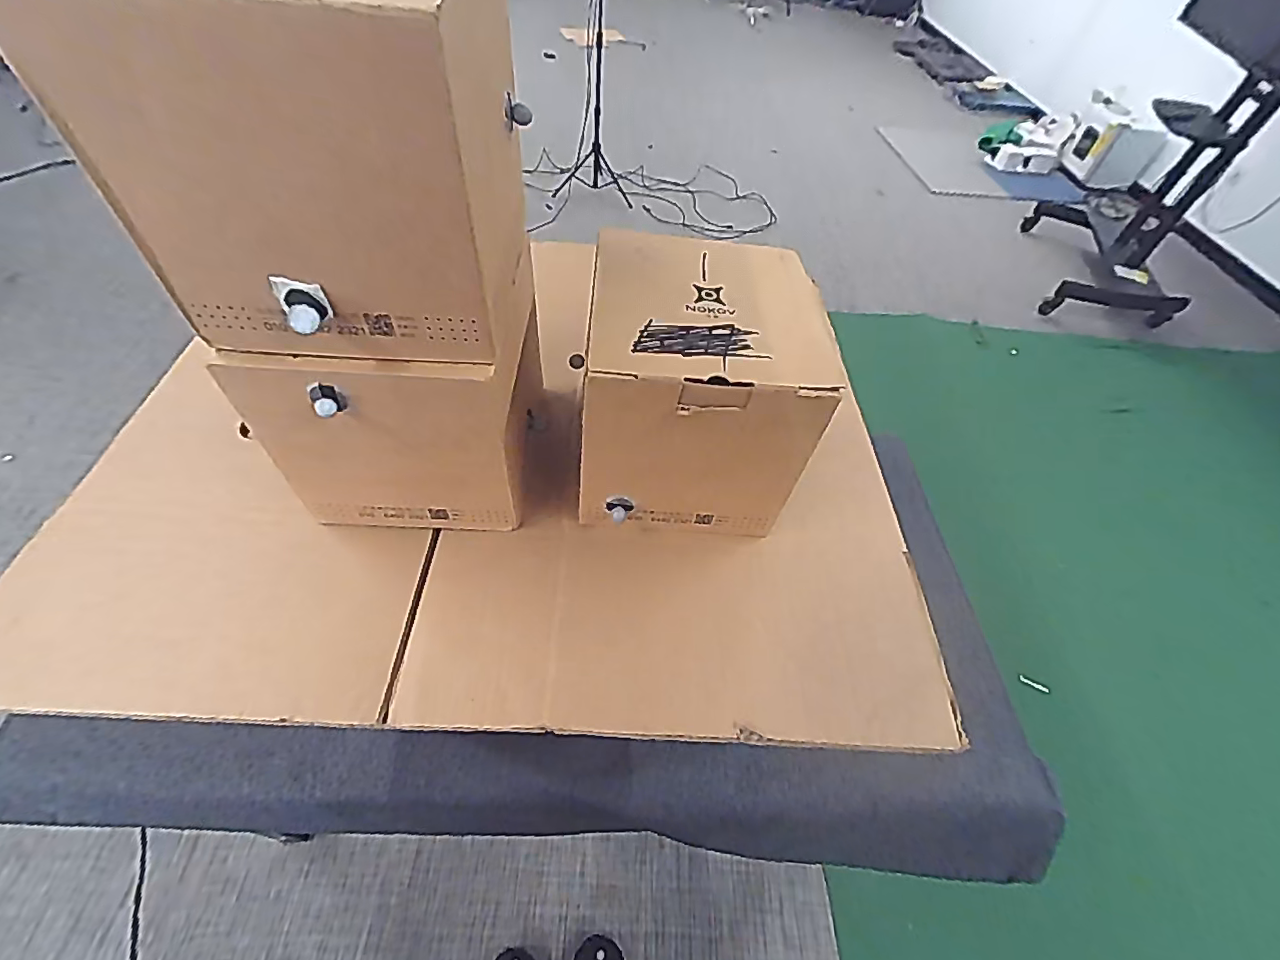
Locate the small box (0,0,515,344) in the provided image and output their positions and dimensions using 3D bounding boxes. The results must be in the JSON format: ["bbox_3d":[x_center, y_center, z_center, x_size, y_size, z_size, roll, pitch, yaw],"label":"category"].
[{"bbox_3d":[-0.165,-0.199,0.297,0.168,0.176,0.179,0,54,-5],"label":"small box"}]

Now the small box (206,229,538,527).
[{"bbox_3d":[-0.177,-0.084,0.432,0.168,0.176,0.179,2,52,-2],"label":"small box"}]
